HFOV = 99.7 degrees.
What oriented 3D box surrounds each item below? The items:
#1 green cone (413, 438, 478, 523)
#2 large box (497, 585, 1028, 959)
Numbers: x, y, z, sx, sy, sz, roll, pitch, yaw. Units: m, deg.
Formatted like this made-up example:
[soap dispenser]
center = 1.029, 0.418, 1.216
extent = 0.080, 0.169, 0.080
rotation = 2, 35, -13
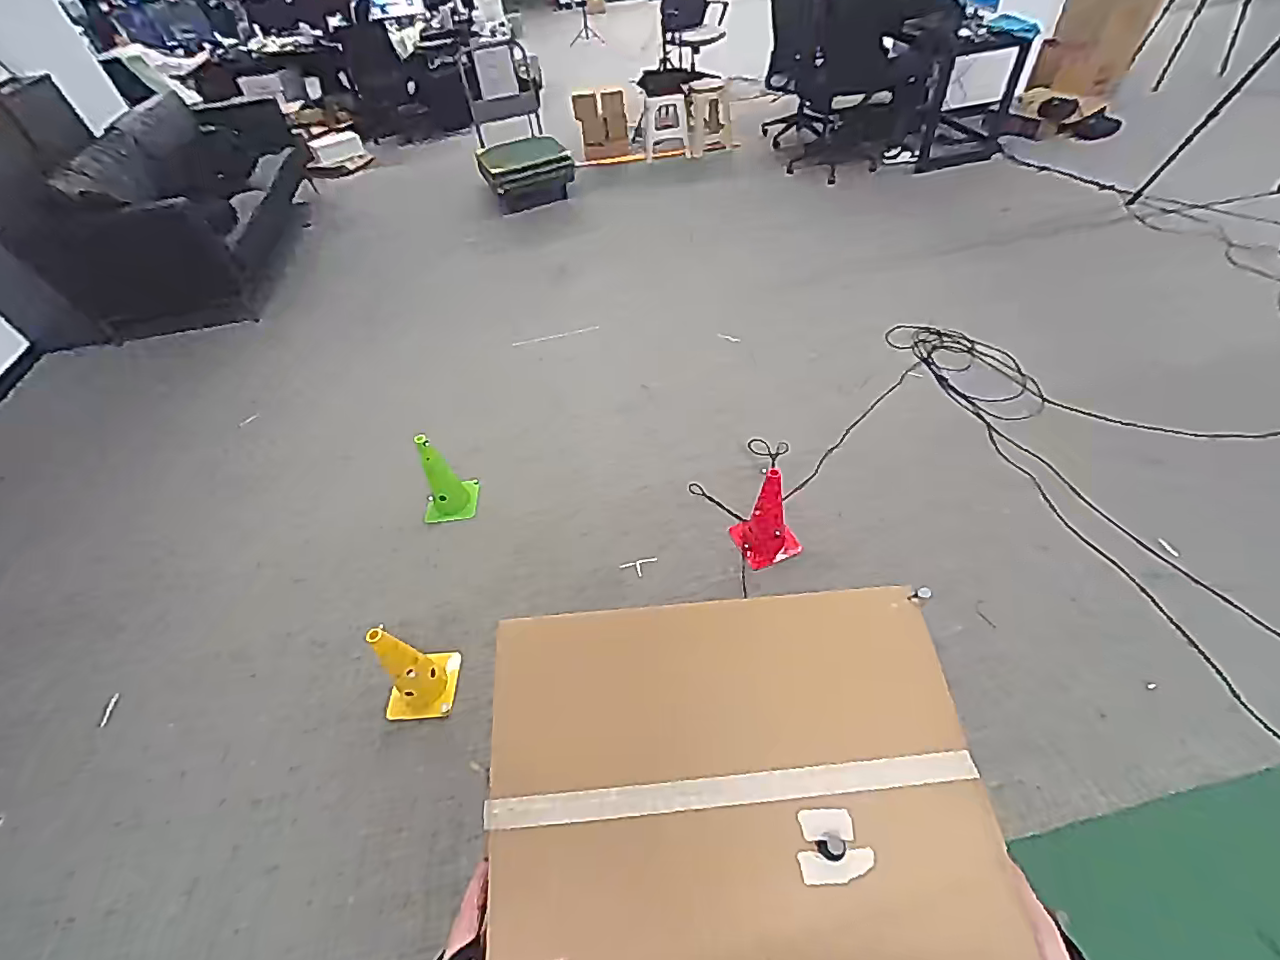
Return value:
[green cone]
center = -0.774, -0.025, 2.050
extent = 0.200, 0.368, 0.202
rotation = -8, 49, 0
[large box]
center = 0.076, 0.329, 0.589
extent = 0.408, 0.320, 0.320
rotation = -5, 62, -3
